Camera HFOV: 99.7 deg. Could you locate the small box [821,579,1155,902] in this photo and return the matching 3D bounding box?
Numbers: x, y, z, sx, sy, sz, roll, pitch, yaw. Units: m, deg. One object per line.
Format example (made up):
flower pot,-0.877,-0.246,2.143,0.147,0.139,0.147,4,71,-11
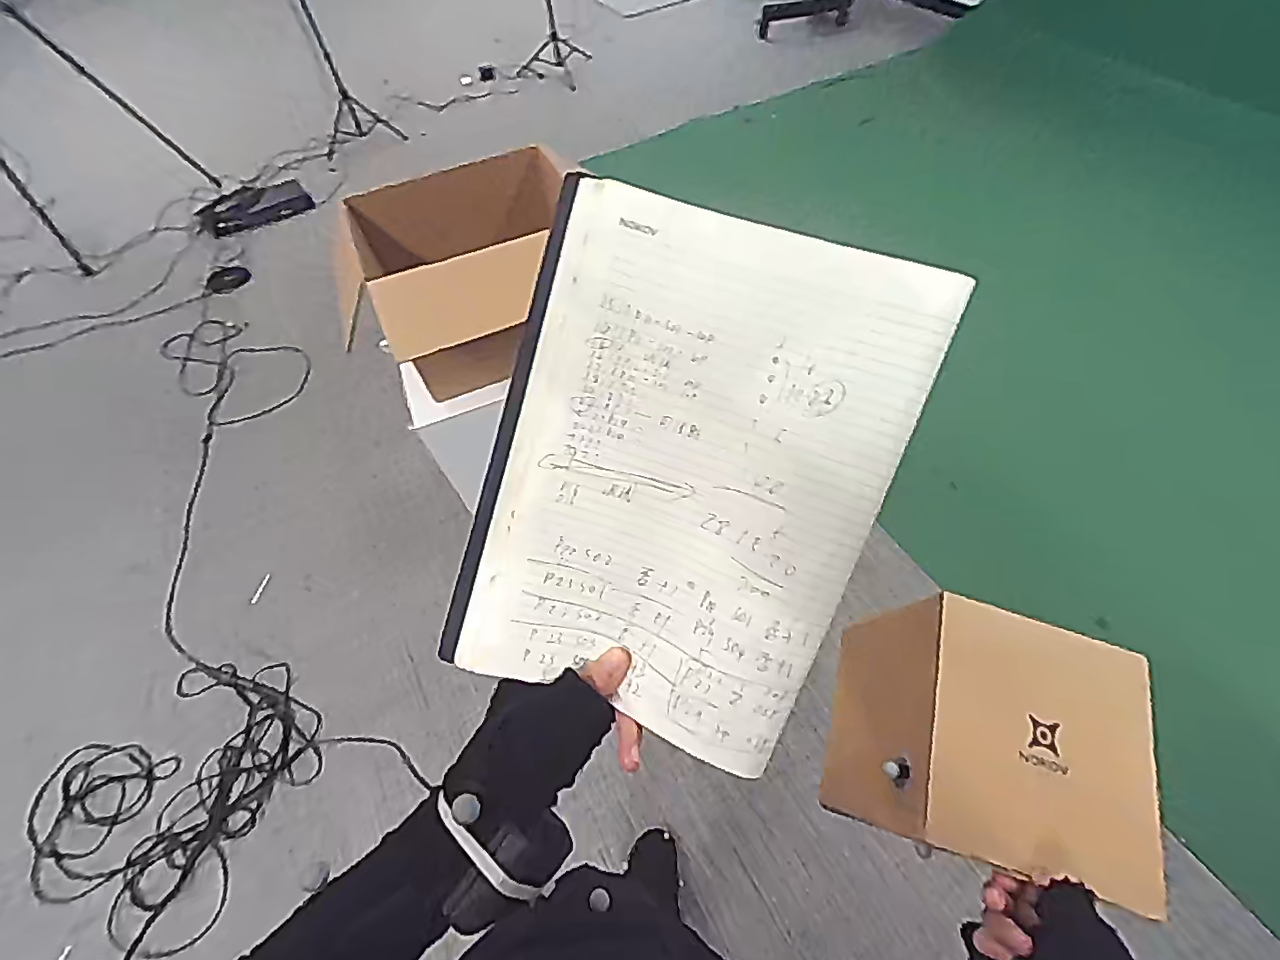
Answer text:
small box,0.273,0.207,0.460,0.168,0.176,0.179,18,67,0
